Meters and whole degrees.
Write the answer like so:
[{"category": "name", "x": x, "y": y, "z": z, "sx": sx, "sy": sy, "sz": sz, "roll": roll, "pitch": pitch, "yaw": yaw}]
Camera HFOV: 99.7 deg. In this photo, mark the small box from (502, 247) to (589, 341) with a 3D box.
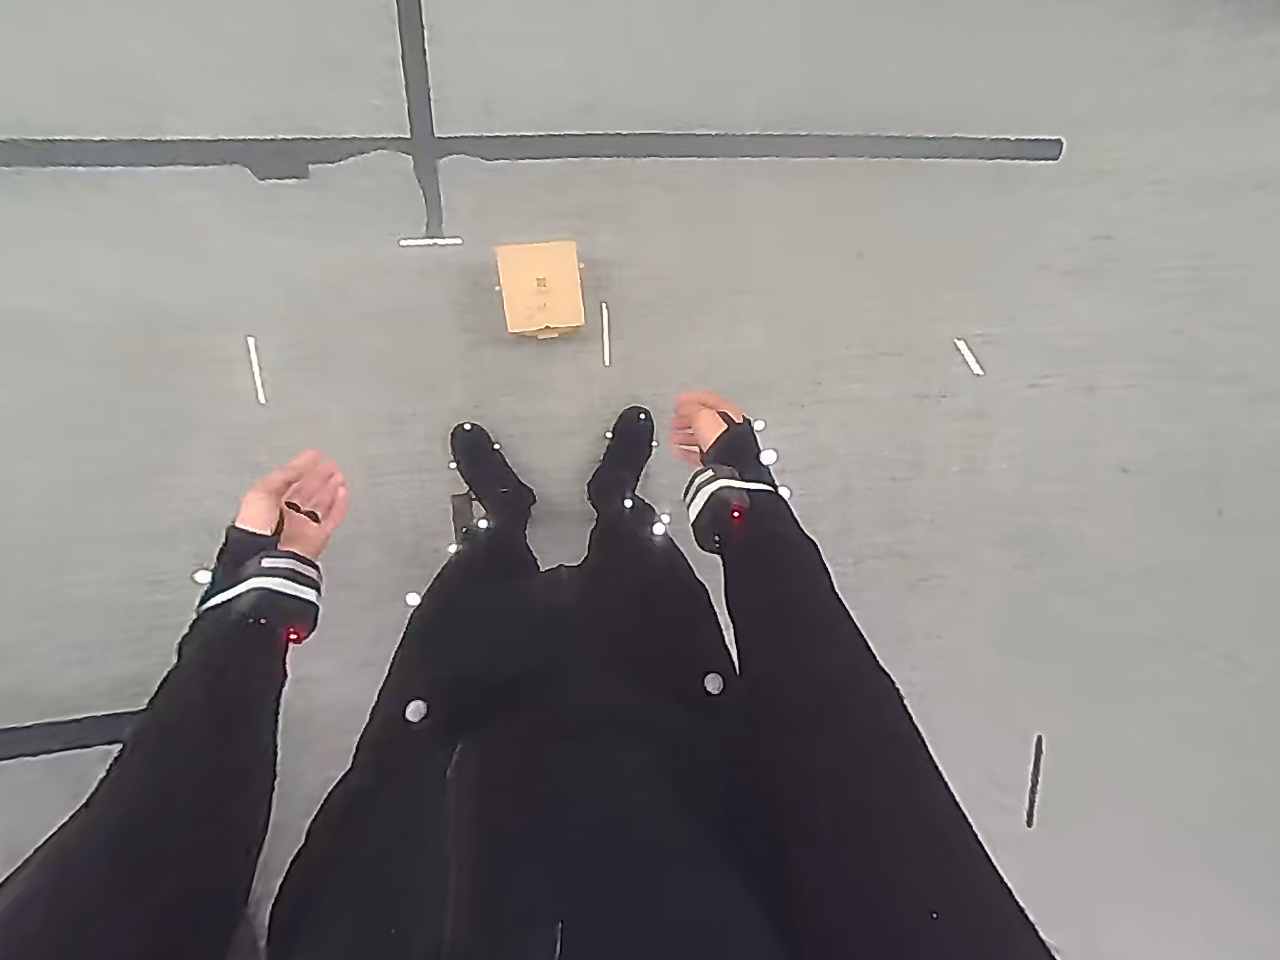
[{"category": "small box", "x": -0.211, "y": -0.411, "z": 1.214, "sx": 0.168, "sy": 0.176, "sz": 0.179, "roll": -8, "pitch": 105, "yaw": -7}]
